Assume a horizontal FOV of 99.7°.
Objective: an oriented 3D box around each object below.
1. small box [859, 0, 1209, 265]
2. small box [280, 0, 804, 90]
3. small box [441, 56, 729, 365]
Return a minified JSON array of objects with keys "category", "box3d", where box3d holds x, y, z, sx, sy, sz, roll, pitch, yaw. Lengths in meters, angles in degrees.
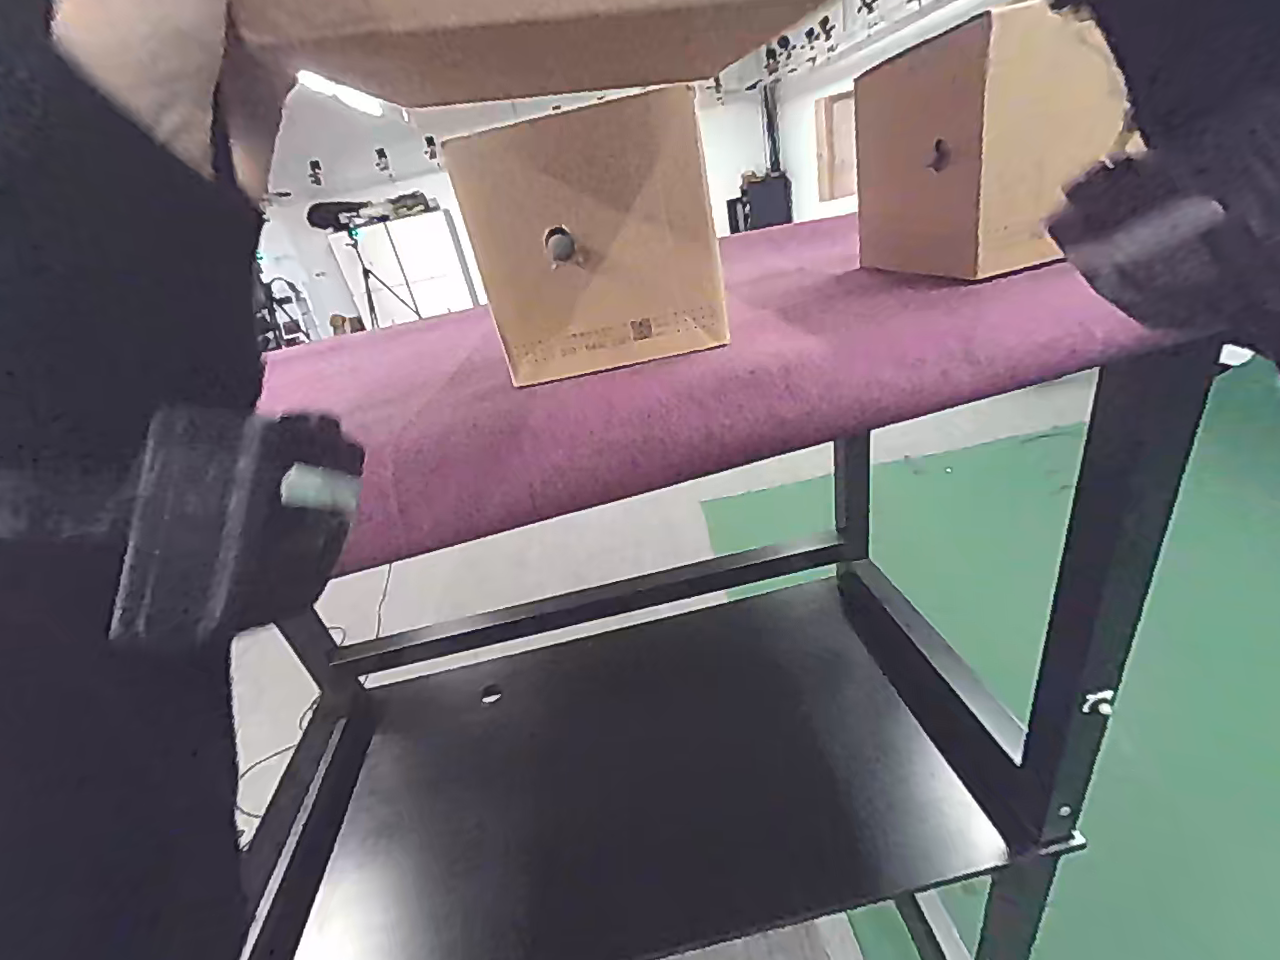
[{"category":"small box","box3d":[0.303,-0.283,0.448,0.168,0.176,0.179,-14,26,-2]},{"category":"small box","box3d":[-0.034,-0.237,0.168,0.168,0.176,0.179,-7,33,-4]},{"category":"small box","box3d":[-0.030,-0.201,0.437,0.168,0.176,0.179,-11,26,4]}]
